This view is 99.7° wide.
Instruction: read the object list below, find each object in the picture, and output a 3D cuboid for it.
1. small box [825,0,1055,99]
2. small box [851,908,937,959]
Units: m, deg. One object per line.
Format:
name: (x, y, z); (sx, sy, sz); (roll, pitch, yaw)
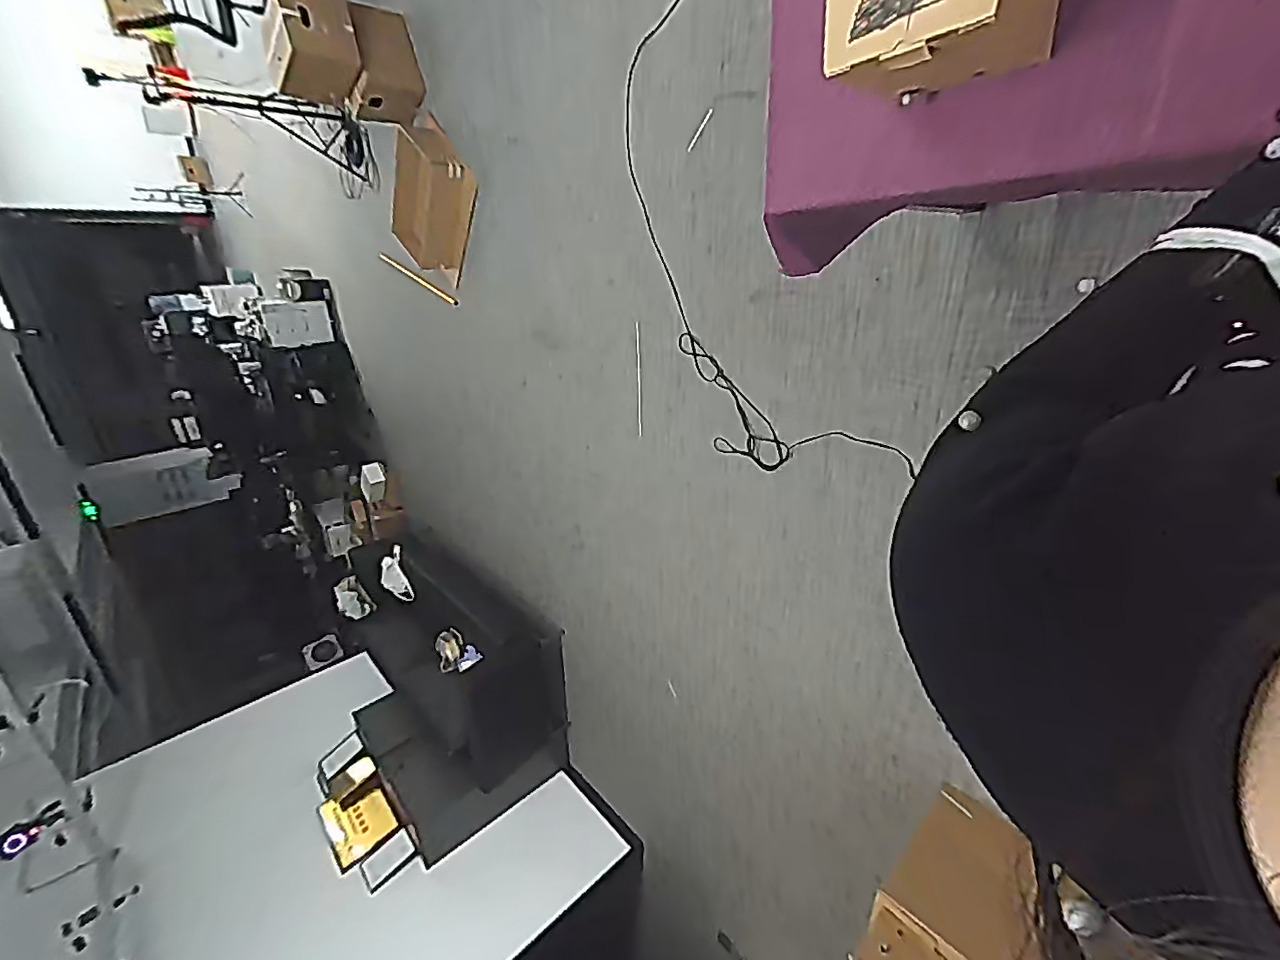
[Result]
small box: (0.310, -0.513, 0.549); (0.168, 0.176, 0.179); (18, 118, 45)
small box: (0.641, 1.259, 1.381); (0.168, 0.176, 0.179); (27, 126, 41)
